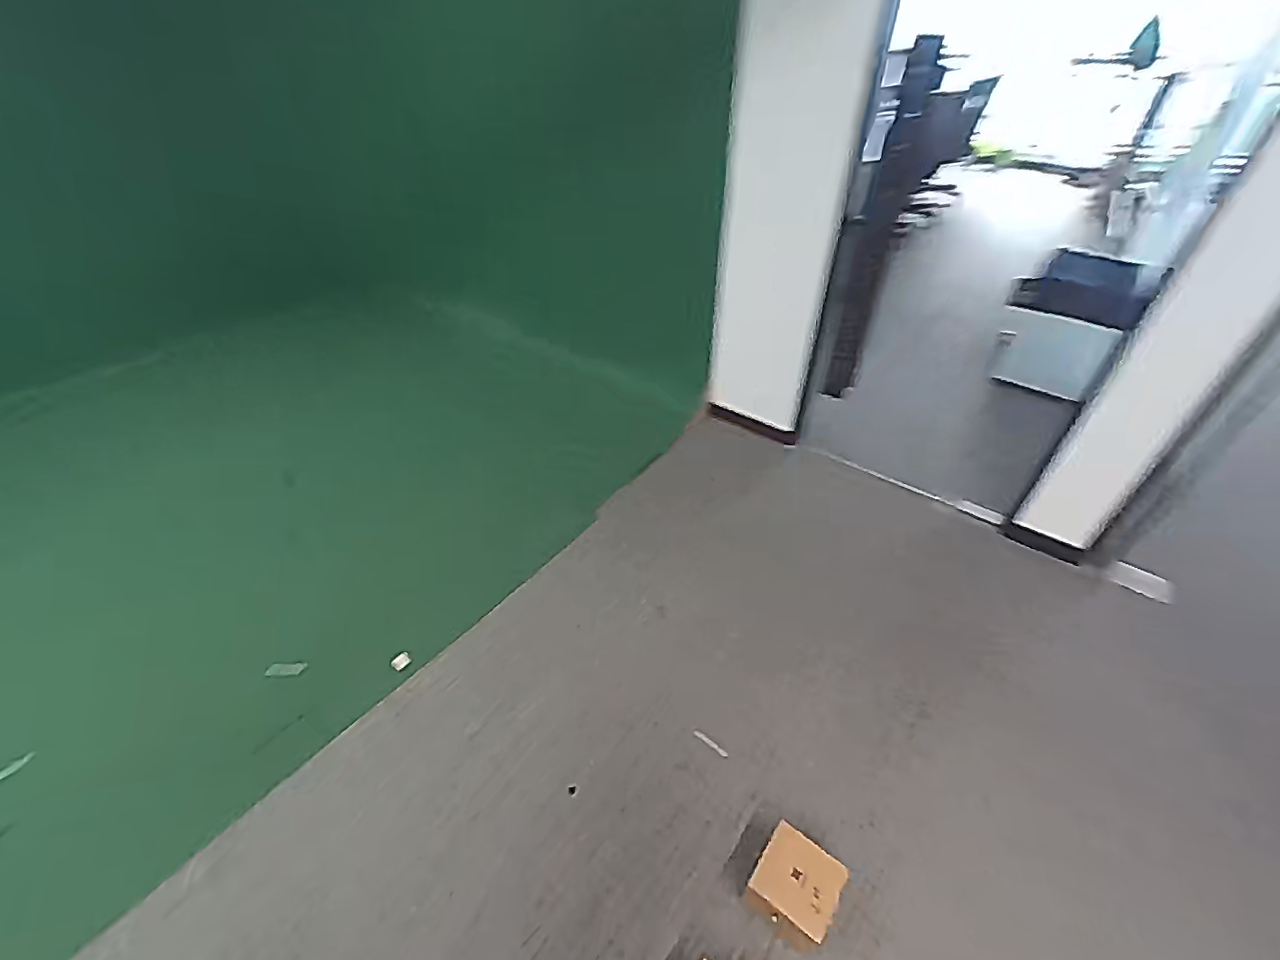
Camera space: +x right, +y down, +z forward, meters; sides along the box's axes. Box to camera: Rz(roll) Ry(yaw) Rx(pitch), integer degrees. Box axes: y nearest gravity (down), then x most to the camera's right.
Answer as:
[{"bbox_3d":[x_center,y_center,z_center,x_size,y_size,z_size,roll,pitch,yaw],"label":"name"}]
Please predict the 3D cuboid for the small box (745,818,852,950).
[{"bbox_3d":[0.362,0.948,1.264,0.179,0.176,0.168,28,50,28],"label":"small box"}]

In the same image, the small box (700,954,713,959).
[{"bbox_3d":[0.151,1.116,1.083,0.179,0.176,0.168,28,49,27],"label":"small box"}]
